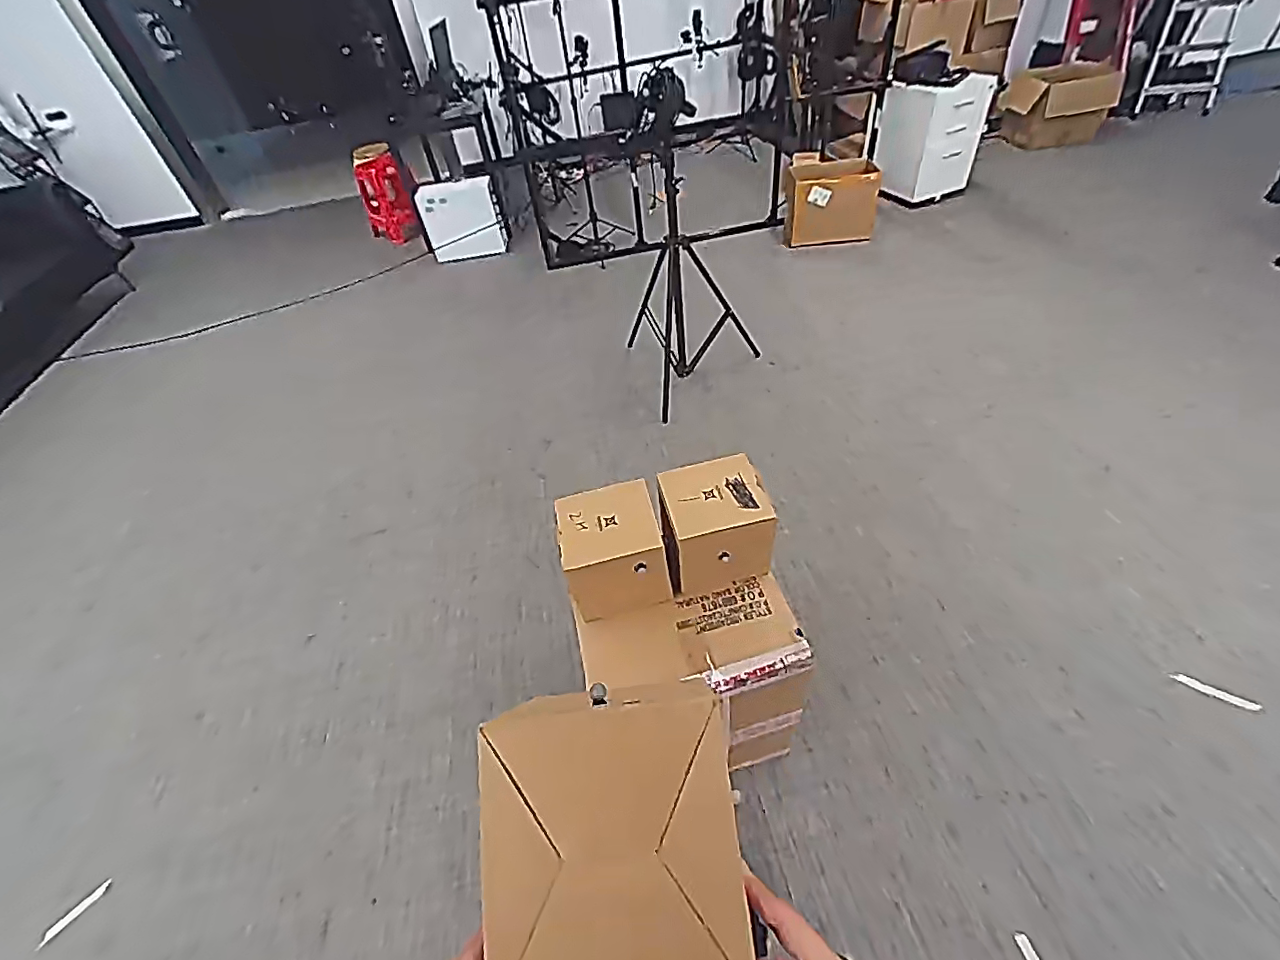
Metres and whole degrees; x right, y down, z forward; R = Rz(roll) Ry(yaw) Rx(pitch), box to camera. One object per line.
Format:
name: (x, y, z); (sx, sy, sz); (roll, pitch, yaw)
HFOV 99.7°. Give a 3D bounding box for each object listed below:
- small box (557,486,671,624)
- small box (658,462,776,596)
small box: (-0.045, 0.141, 1.007); (0.179, 0.176, 0.168); (-14, 45, -1)
small box: (0.139, 0.094, 1.024); (0.179, 0.176, 0.168); (-13, 46, -4)
